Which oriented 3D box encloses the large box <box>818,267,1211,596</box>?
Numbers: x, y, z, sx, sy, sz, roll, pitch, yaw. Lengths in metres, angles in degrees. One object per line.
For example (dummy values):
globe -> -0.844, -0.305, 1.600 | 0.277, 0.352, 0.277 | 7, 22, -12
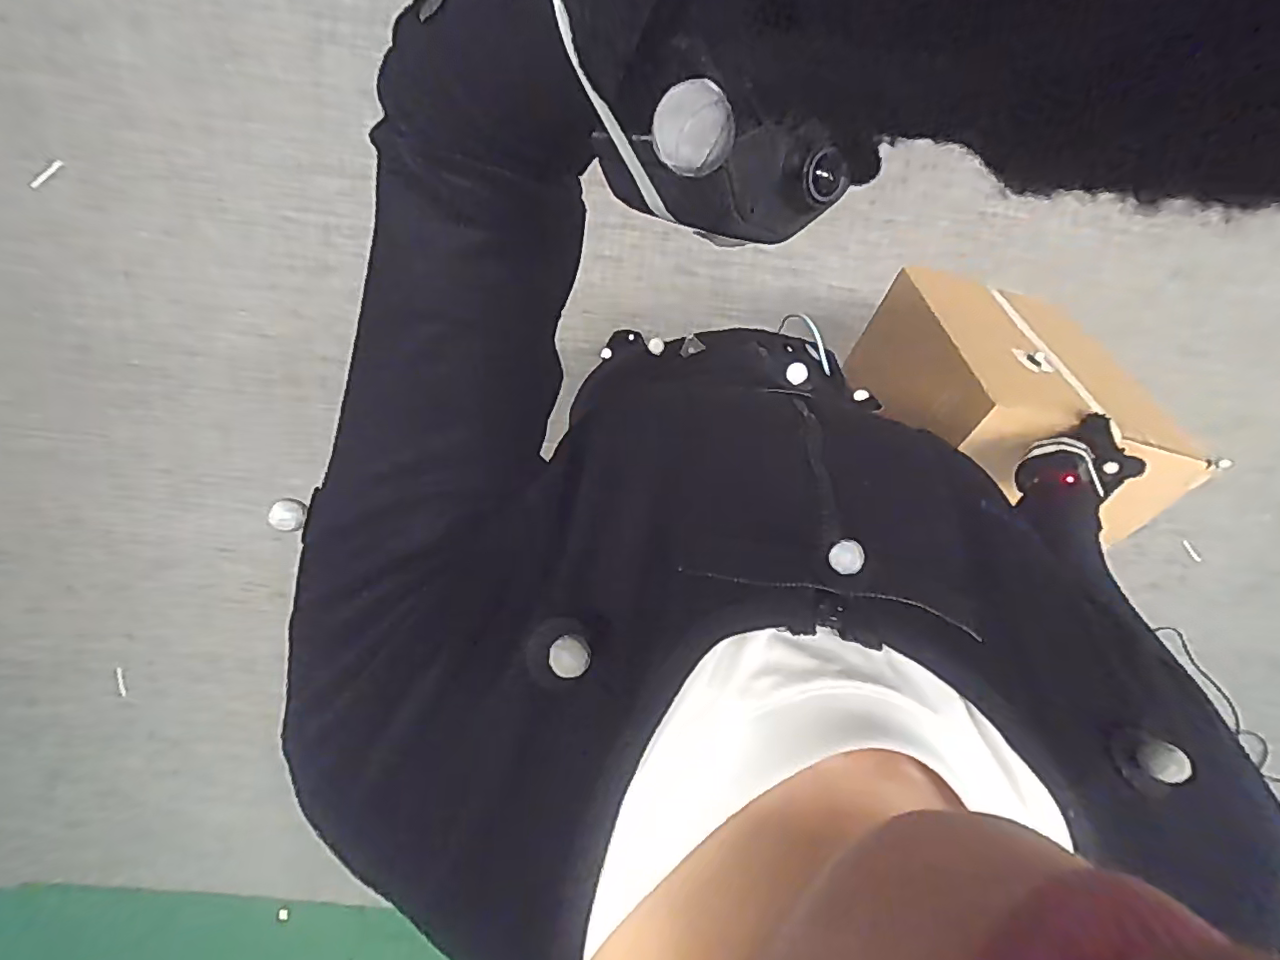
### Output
large box -> 0.531, -0.083, 0.886 | 0.320, 0.408, 0.320 | 13, 134, -6
